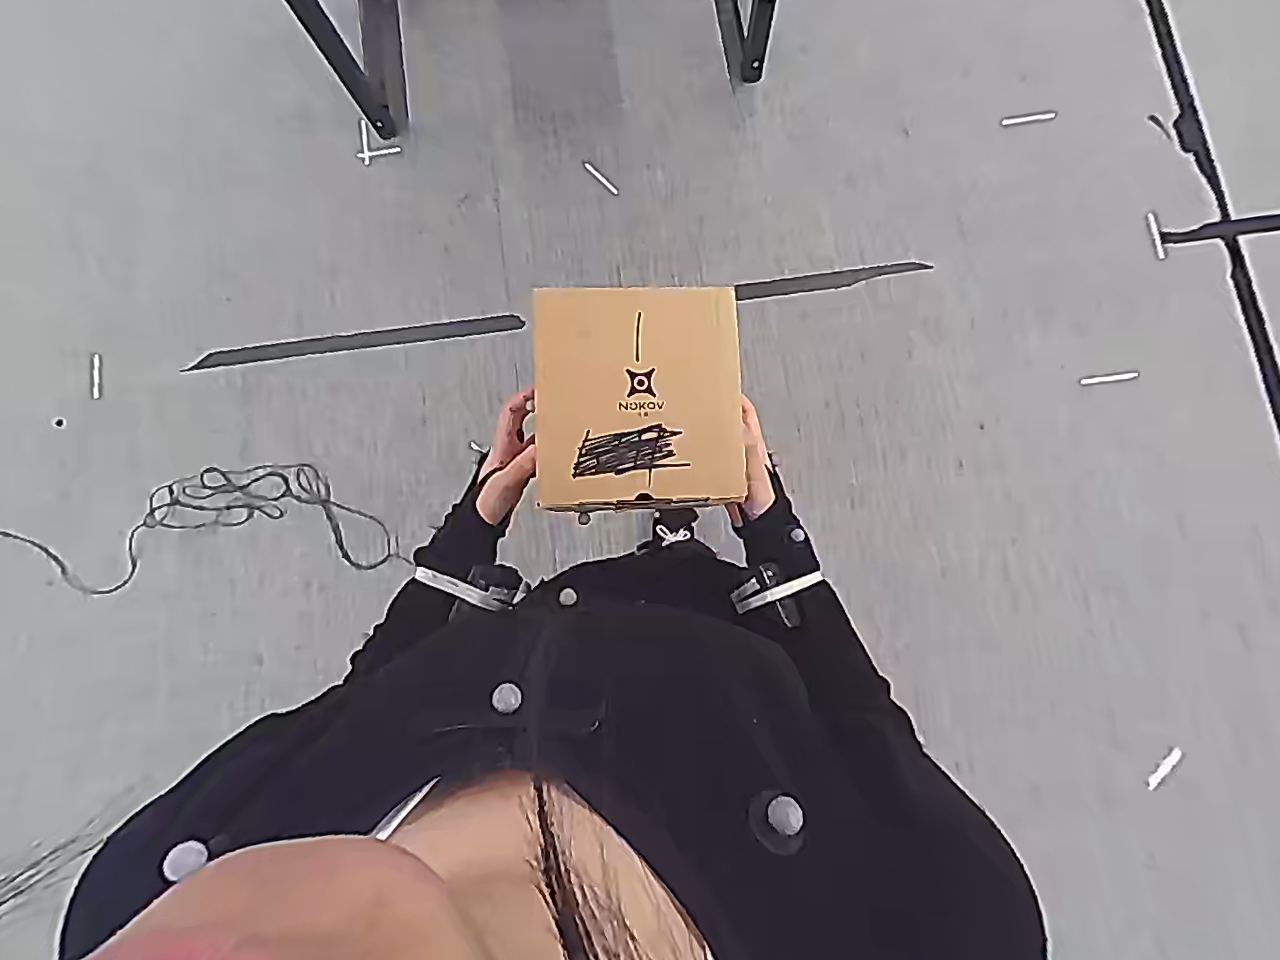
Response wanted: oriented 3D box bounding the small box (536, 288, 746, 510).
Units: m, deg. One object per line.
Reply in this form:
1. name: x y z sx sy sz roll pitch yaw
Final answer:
1. small box: -0.005 -0.061 0.506 0.168 0.176 0.179 -2 85 -5

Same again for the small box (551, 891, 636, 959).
1. small box: -0.107 1.137 1.304 0.179 0.176 0.168 -8 83 1

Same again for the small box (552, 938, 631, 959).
1. small box: -0.105 1.113 1.141 0.179 0.176 0.168 -5 82 1
